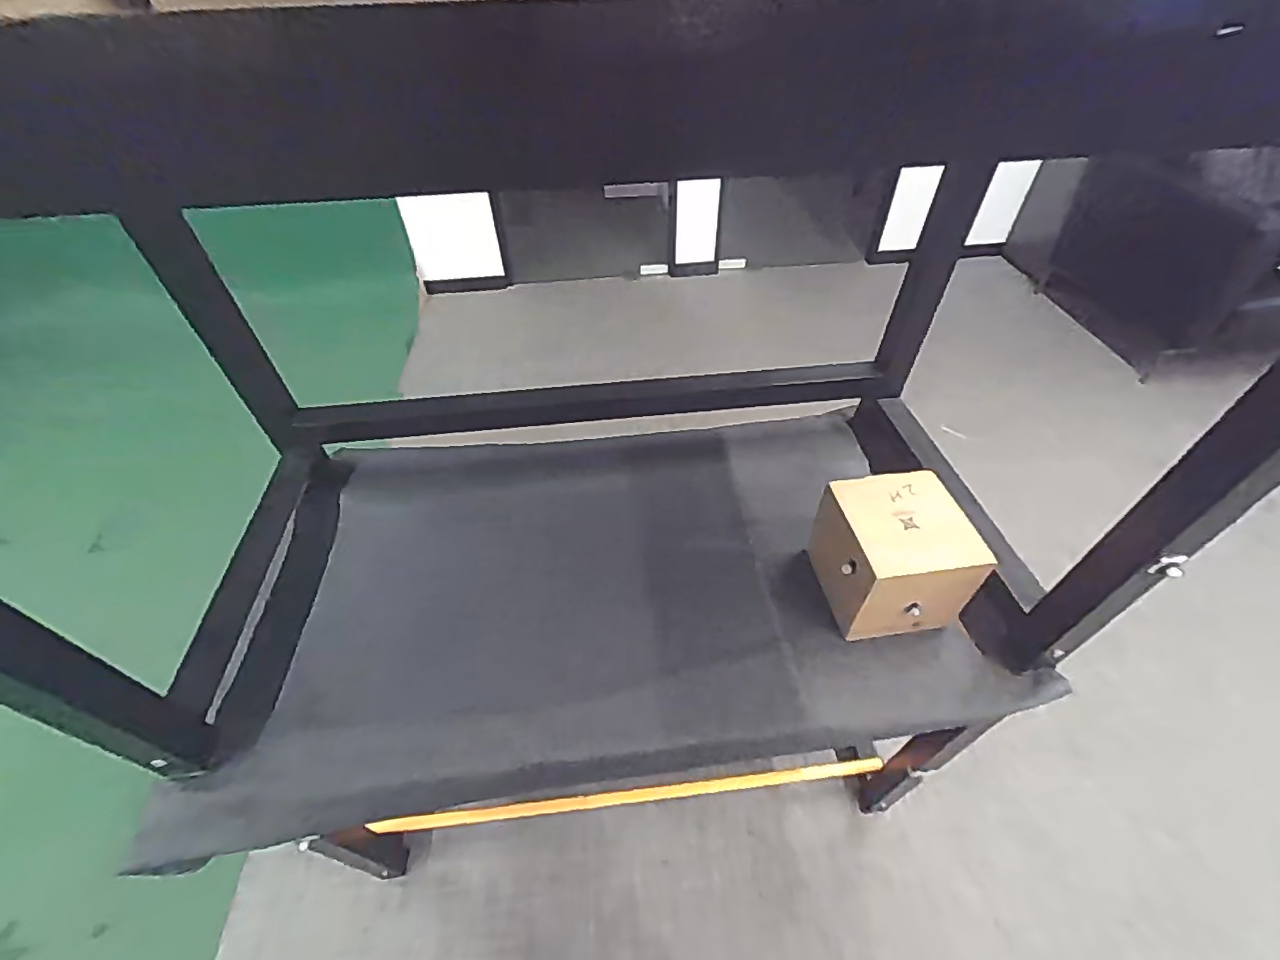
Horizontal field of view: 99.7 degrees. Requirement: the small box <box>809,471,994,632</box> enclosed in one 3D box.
[{"bbox_3d":[0.373,0.113,0.811,0.168,0.176,0.179,-6,46,-5],"label":"small box"}]
